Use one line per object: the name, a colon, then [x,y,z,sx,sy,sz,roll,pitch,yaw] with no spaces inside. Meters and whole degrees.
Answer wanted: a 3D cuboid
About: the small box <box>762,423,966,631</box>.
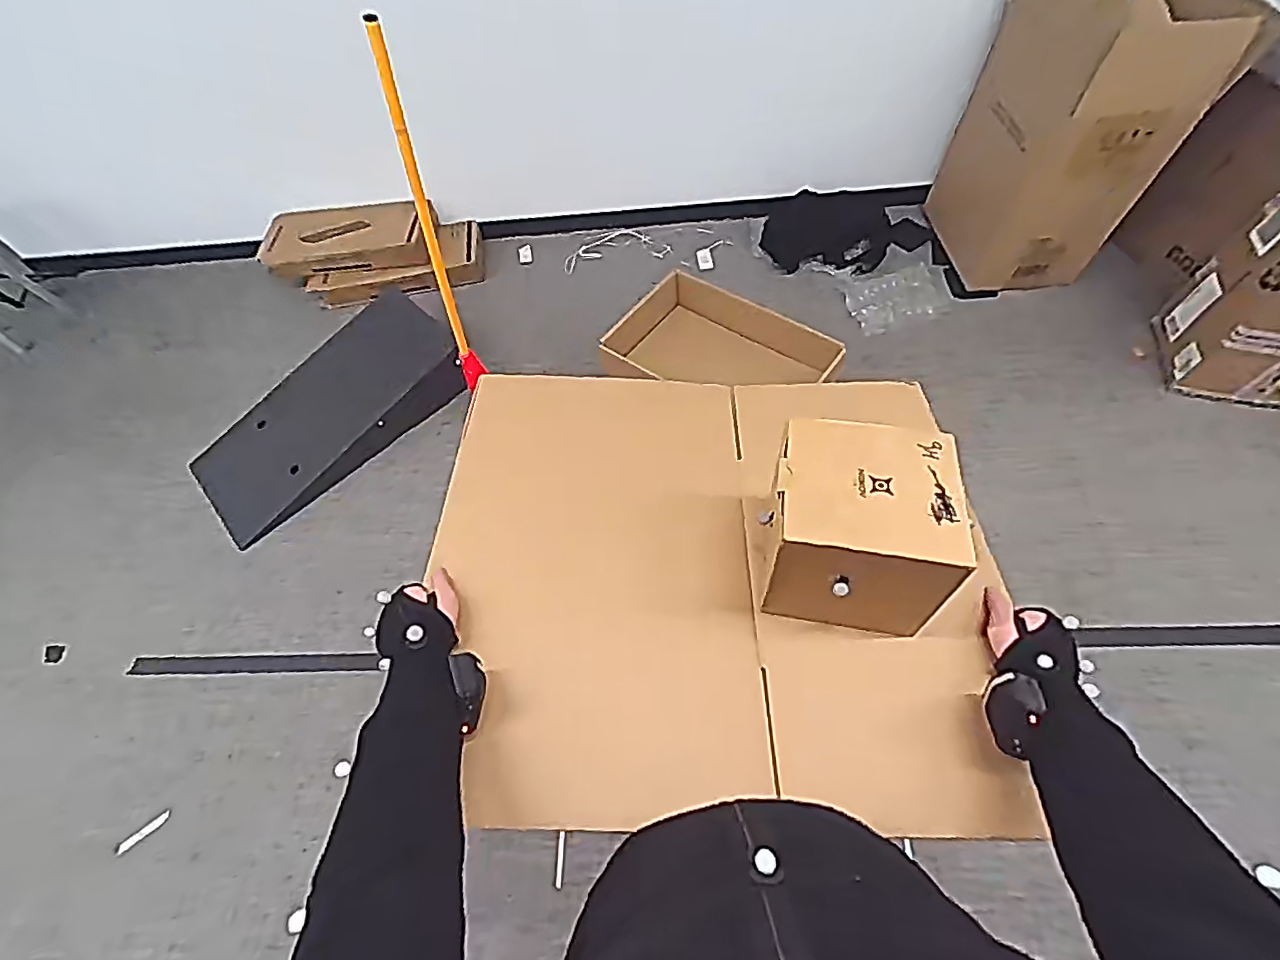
small box: [0.238,0.057,0.620,0.179,0.176,0.168,7,54,10]
